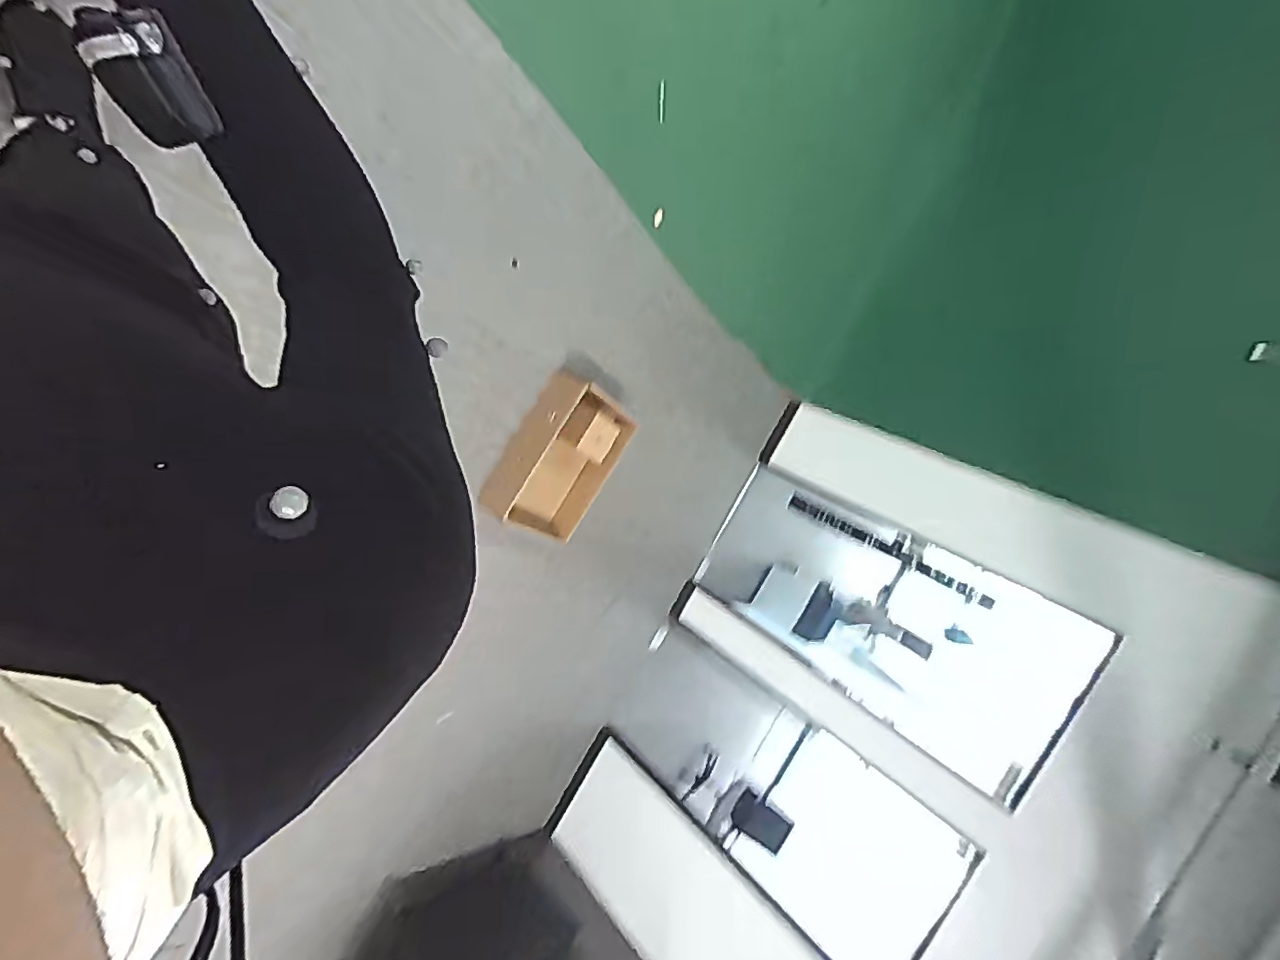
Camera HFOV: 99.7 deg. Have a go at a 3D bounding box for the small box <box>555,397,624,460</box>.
[{"bbox_3d":[-0.204,-0.209,2.163,0.168,0.176,0.179,-58,145,-1],"label":"small box"}]
